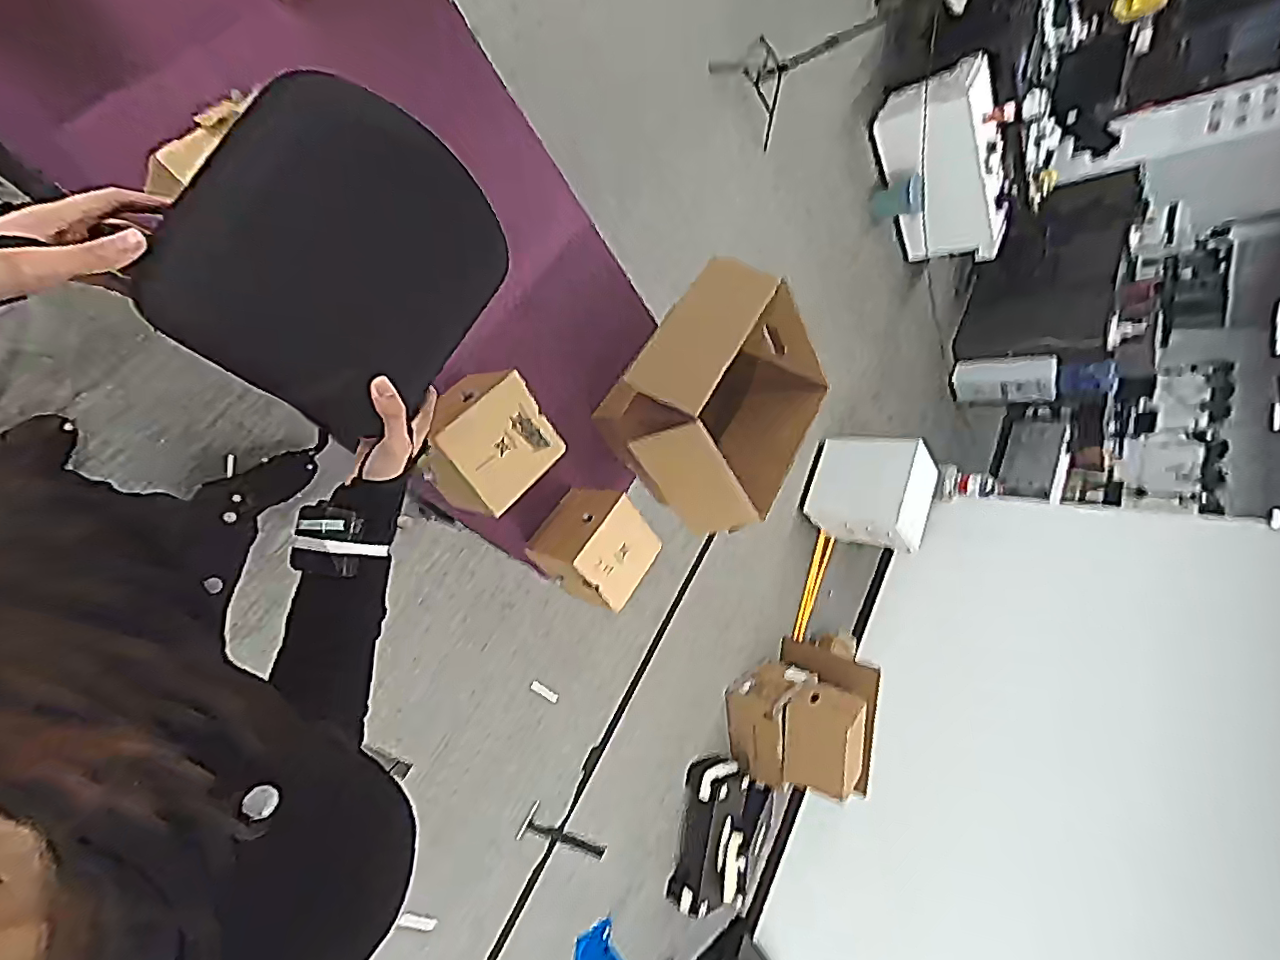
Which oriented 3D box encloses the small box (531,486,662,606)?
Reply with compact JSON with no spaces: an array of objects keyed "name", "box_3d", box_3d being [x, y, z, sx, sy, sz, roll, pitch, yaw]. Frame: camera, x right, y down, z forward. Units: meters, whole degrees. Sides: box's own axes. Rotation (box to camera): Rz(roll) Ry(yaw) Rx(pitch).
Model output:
[{"name":"small box","box_3d":[-0.091,0.127,1.115,0.179,0.176,0.168,-54,127,-27]}]
